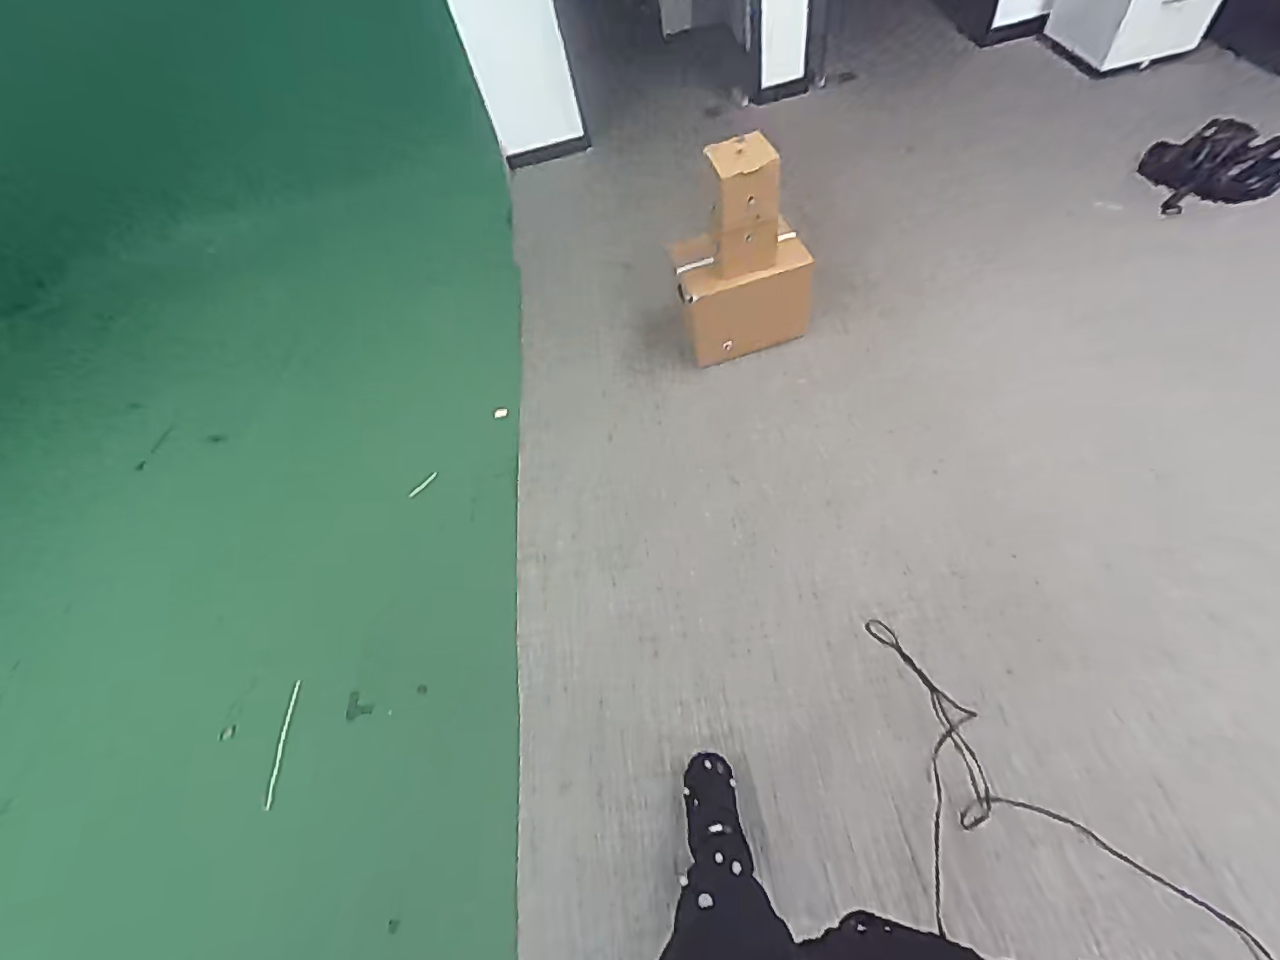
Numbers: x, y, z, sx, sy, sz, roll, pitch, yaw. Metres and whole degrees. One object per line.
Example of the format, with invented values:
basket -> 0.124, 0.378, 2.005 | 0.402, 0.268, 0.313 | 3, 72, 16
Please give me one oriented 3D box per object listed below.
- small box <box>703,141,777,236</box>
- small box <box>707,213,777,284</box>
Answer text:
small box -> 0.291, -0.833, 1.565 | 0.168, 0.176, 0.179 | -16, 56, 1
small box -> 0.321, -0.746, 1.700 | 0.179, 0.176, 0.168 | -15, 56, 1
